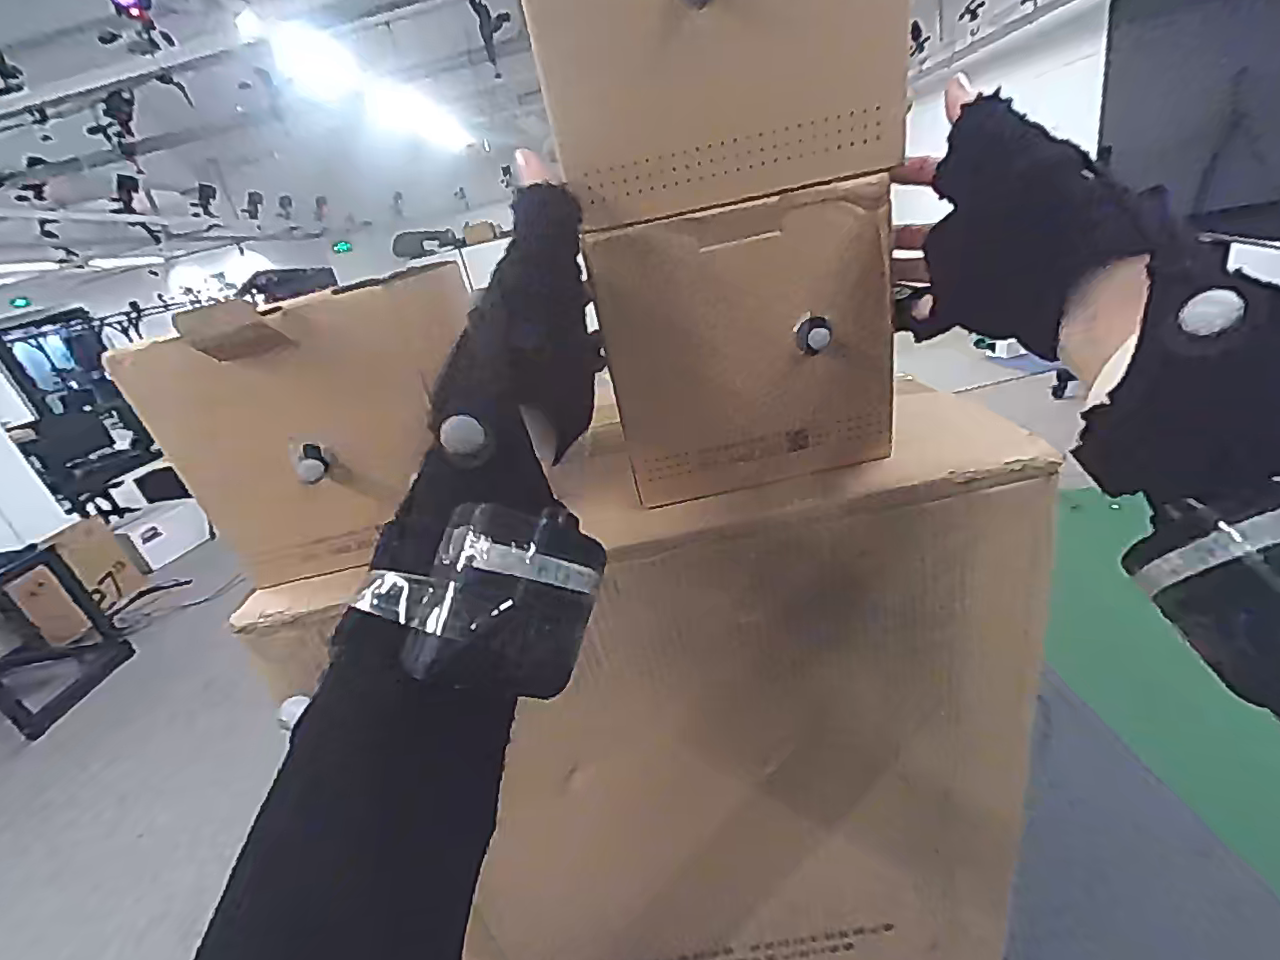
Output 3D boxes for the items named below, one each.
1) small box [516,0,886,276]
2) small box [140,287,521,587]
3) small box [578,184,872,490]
[{"bbox_3d":[0.037,-0.233,0.332,0.179,0.176,0.168,-10,26,6],"label":"small box"},{"bbox_3d":[-0.203,-0.035,0.423,0.168,0.176,0.179,-15,25,1],"label":"small box"},{"bbox_3d":[0.057,-0.102,0.398,0.168,0.176,0.179,-10,25,2],"label":"small box"}]
